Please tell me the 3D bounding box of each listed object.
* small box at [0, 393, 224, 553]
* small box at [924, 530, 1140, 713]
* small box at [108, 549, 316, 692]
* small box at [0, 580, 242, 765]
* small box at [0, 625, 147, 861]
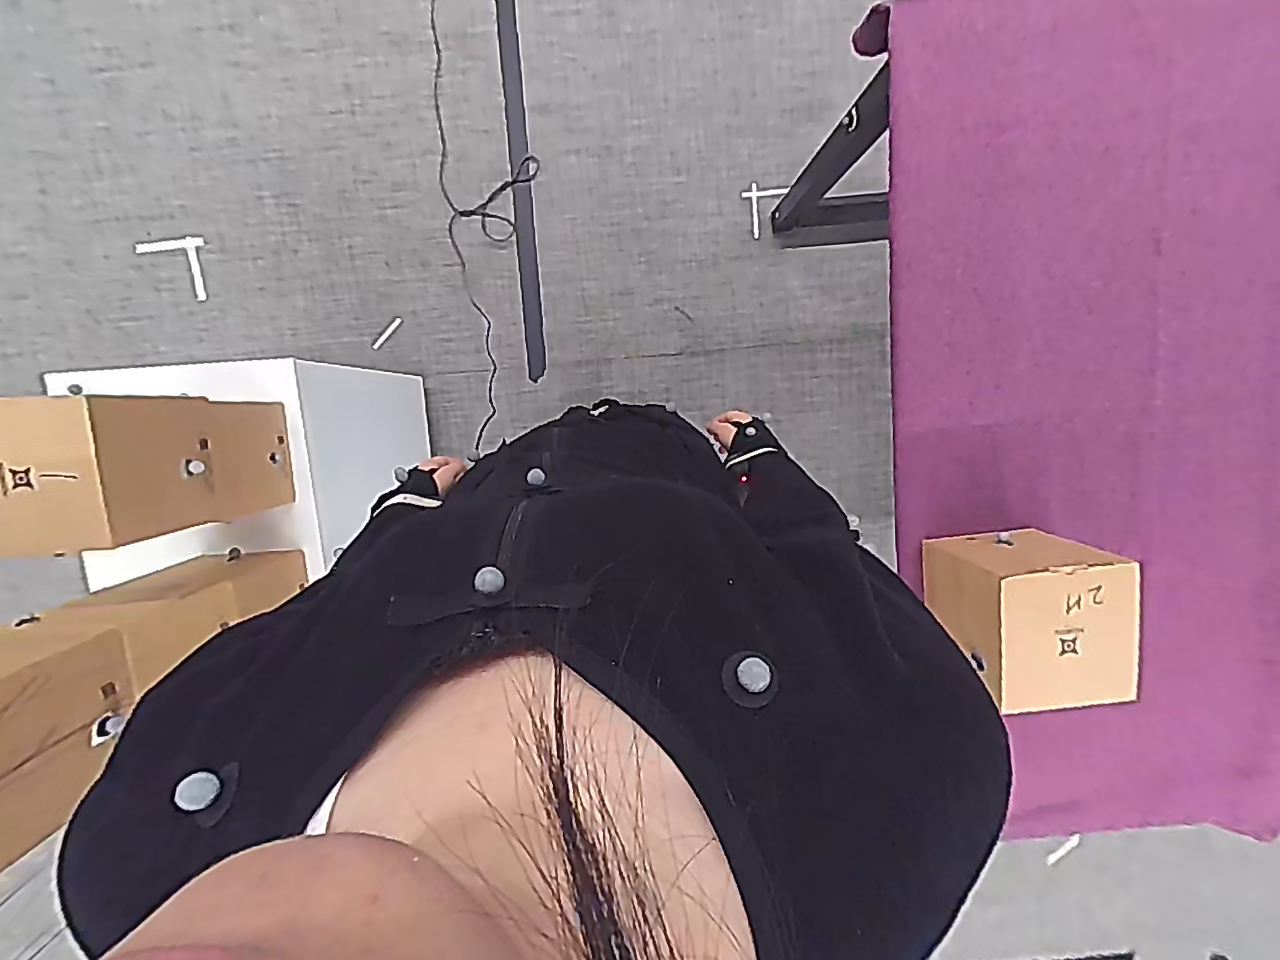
[{"bbox_3d":[-0.642,-0.015,0.633,0.179,0.176,0.168,-2,99,-2],"label":"small box"},{"bbox_3d":[0.499,0.175,0.712,0.168,0.176,0.179,-6,98,-1],"label":"small box"},{"bbox_3d":[-0.639,0.209,0.830,0.179,0.176,0.168,-3,99,1],"label":"small box"},{"bbox_3d":[-0.635,0.230,0.669,0.179,0.176,0.168,-5,98,0],"label":"small box"},{"bbox_3d":[-0.634,0.251,0.508,0.179,0.176,0.168,-5,99,-1],"label":"small box"}]
